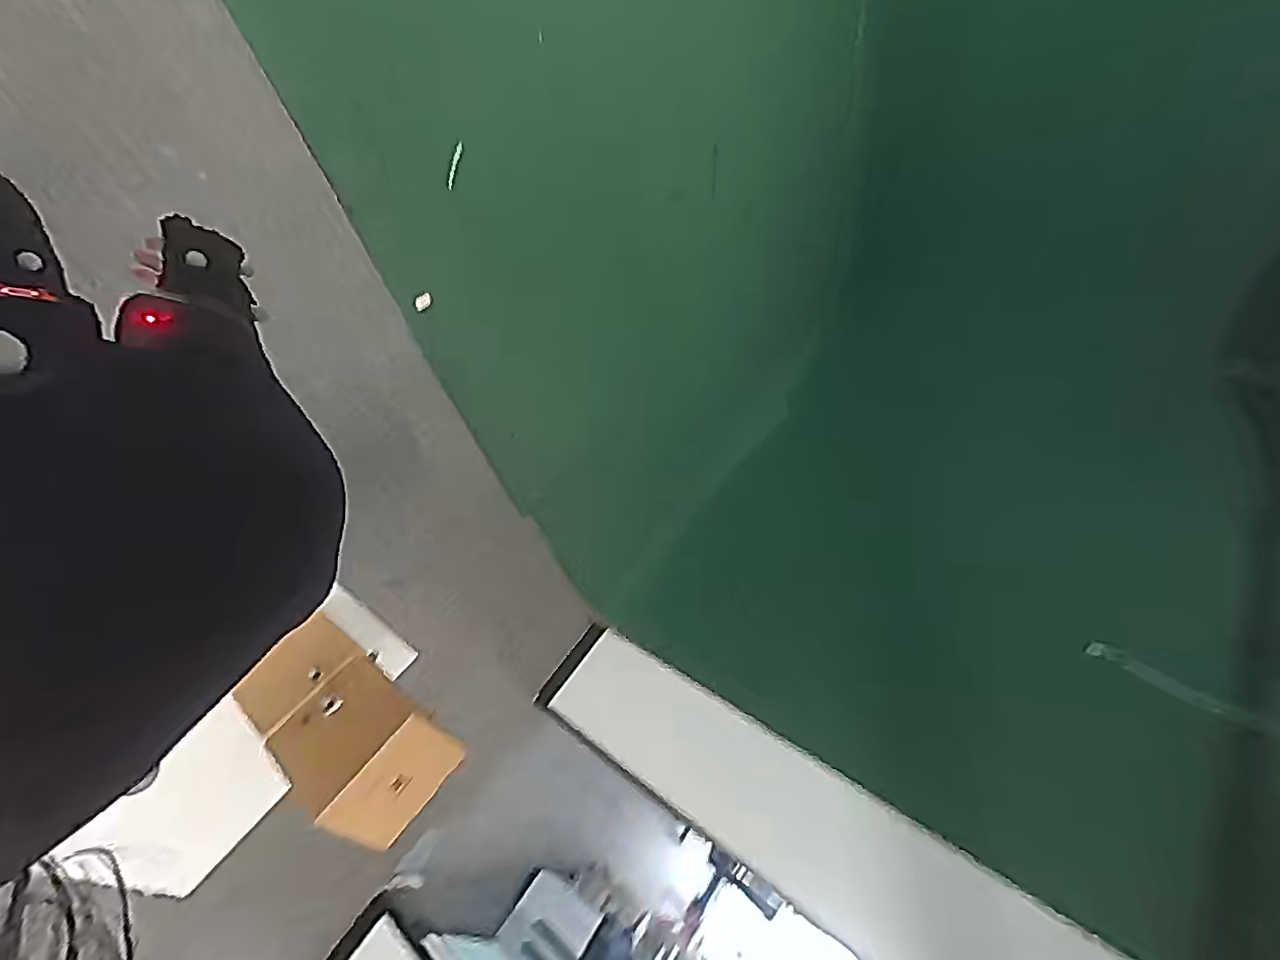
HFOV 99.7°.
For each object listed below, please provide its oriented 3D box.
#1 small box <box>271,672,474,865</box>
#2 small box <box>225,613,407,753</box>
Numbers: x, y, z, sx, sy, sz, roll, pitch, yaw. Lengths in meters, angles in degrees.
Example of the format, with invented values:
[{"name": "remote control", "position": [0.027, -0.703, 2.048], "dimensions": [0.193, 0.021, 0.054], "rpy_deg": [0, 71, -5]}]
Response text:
[{"name": "small box", "position": [-0.388, 0.415, 0.796], "dimensions": [0.168, 0.176, 0.179], "rpy_deg": [-48, 141, -27]}, {"name": "small box", "position": [-0.526, 0.351, 0.892], "dimensions": [0.168, 0.176, 0.179], "rpy_deg": [-46, 142, -29]}]
